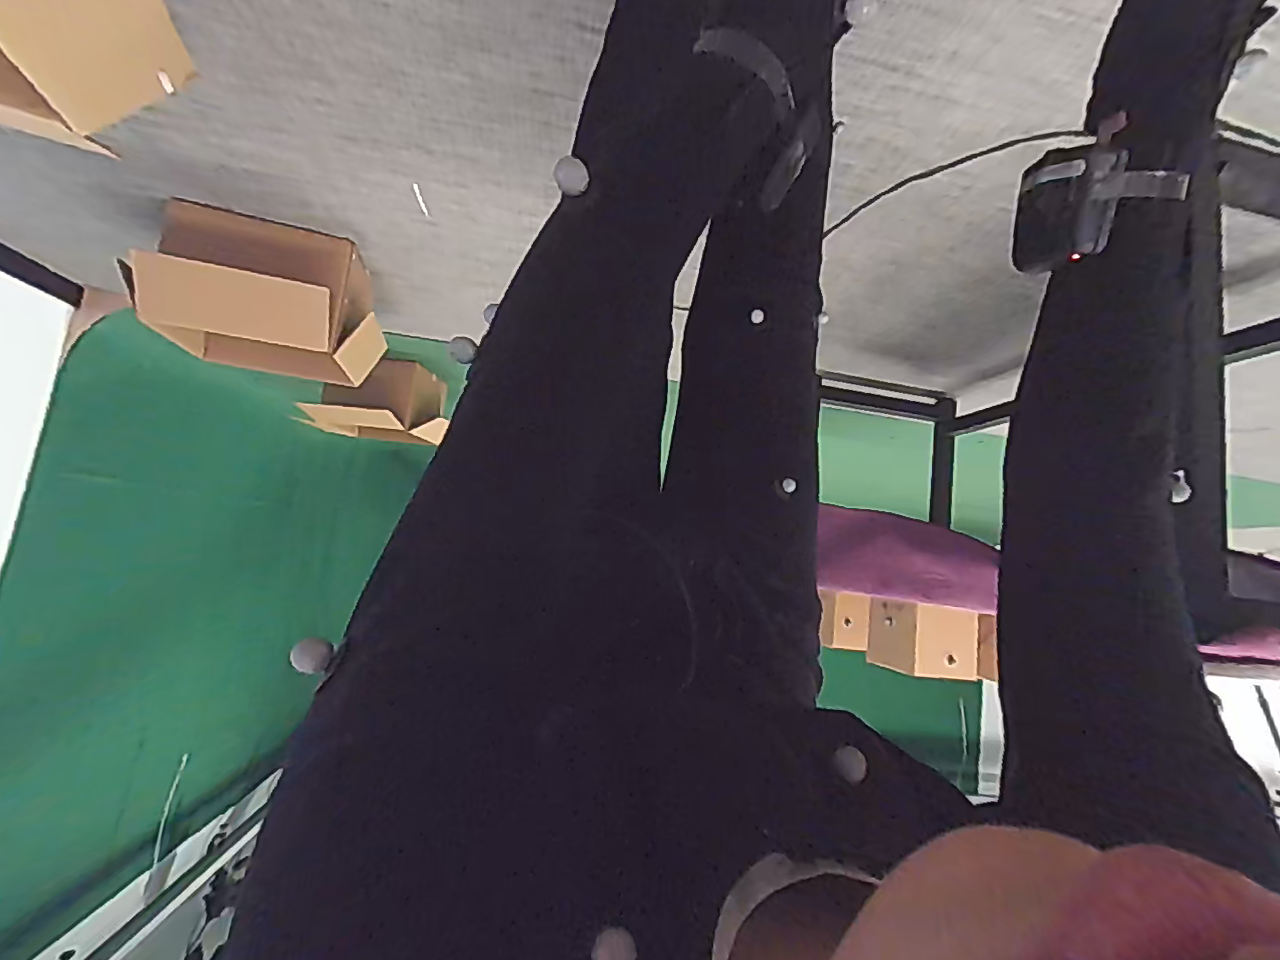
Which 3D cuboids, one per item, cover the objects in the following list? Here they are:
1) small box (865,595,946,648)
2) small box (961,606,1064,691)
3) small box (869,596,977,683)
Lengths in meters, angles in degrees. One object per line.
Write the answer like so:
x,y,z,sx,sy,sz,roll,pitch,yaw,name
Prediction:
0.827,0.454,1.674,0.179,0.176,0.168,10,171,-15,small box
0.908,0.412,1.346,0.179,0.176,0.168,8,171,-8,small box
0.685,0.380,1.308,0.179,0.176,0.168,9,171,-13,small box
